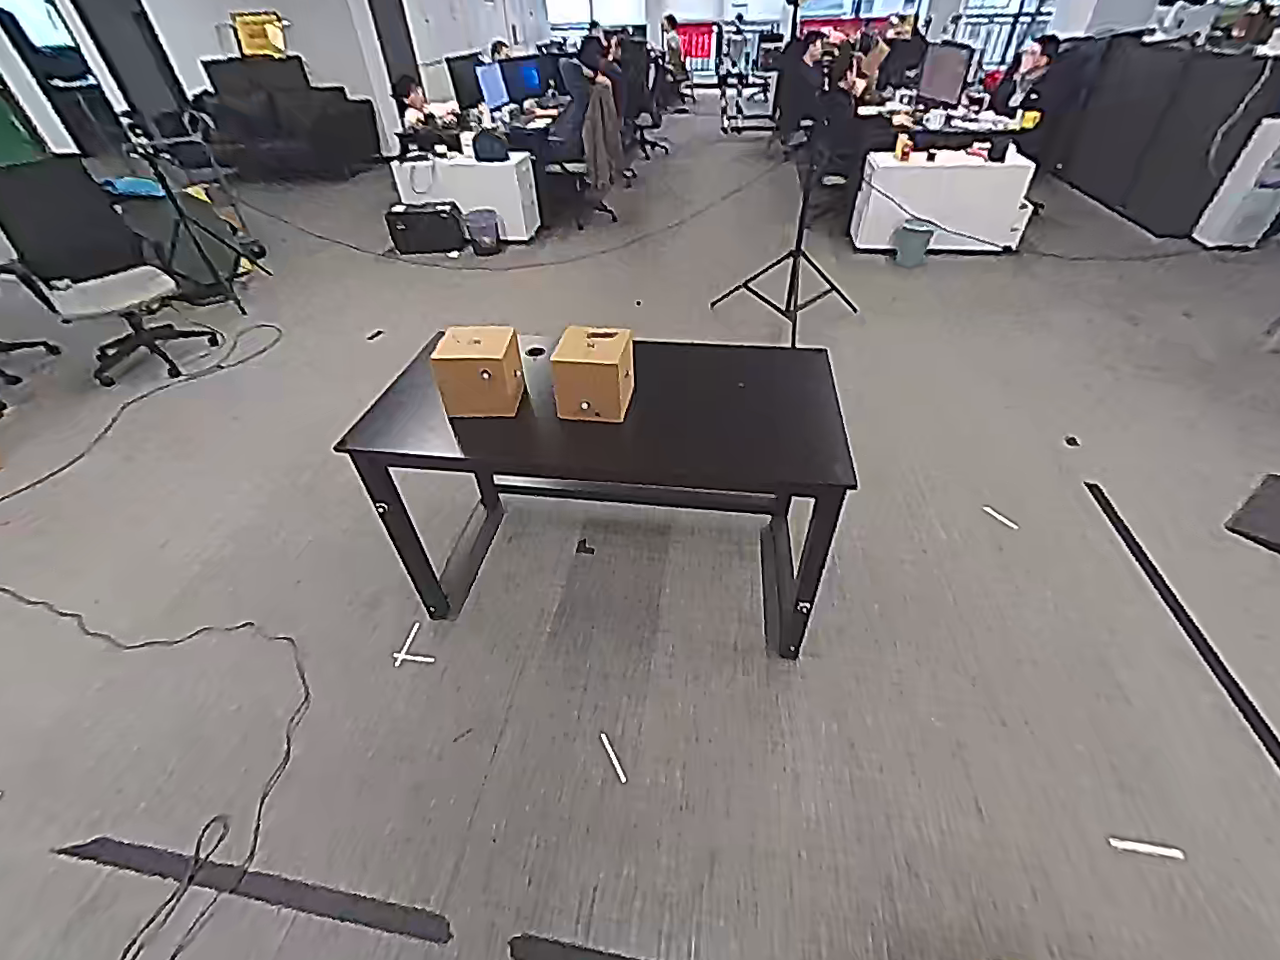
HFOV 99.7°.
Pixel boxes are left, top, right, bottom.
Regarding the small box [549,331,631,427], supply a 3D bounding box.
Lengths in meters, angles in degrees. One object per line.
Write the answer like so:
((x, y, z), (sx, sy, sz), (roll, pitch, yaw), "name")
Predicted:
((-0.117, -0.255, 1.357), (0.168, 0.176, 0.179), (5, 43, 8), "small box")

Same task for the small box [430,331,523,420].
((-0.405, -0.265, 1.379), (0.179, 0.176, 0.168), (-1, 41, 2), "small box")
